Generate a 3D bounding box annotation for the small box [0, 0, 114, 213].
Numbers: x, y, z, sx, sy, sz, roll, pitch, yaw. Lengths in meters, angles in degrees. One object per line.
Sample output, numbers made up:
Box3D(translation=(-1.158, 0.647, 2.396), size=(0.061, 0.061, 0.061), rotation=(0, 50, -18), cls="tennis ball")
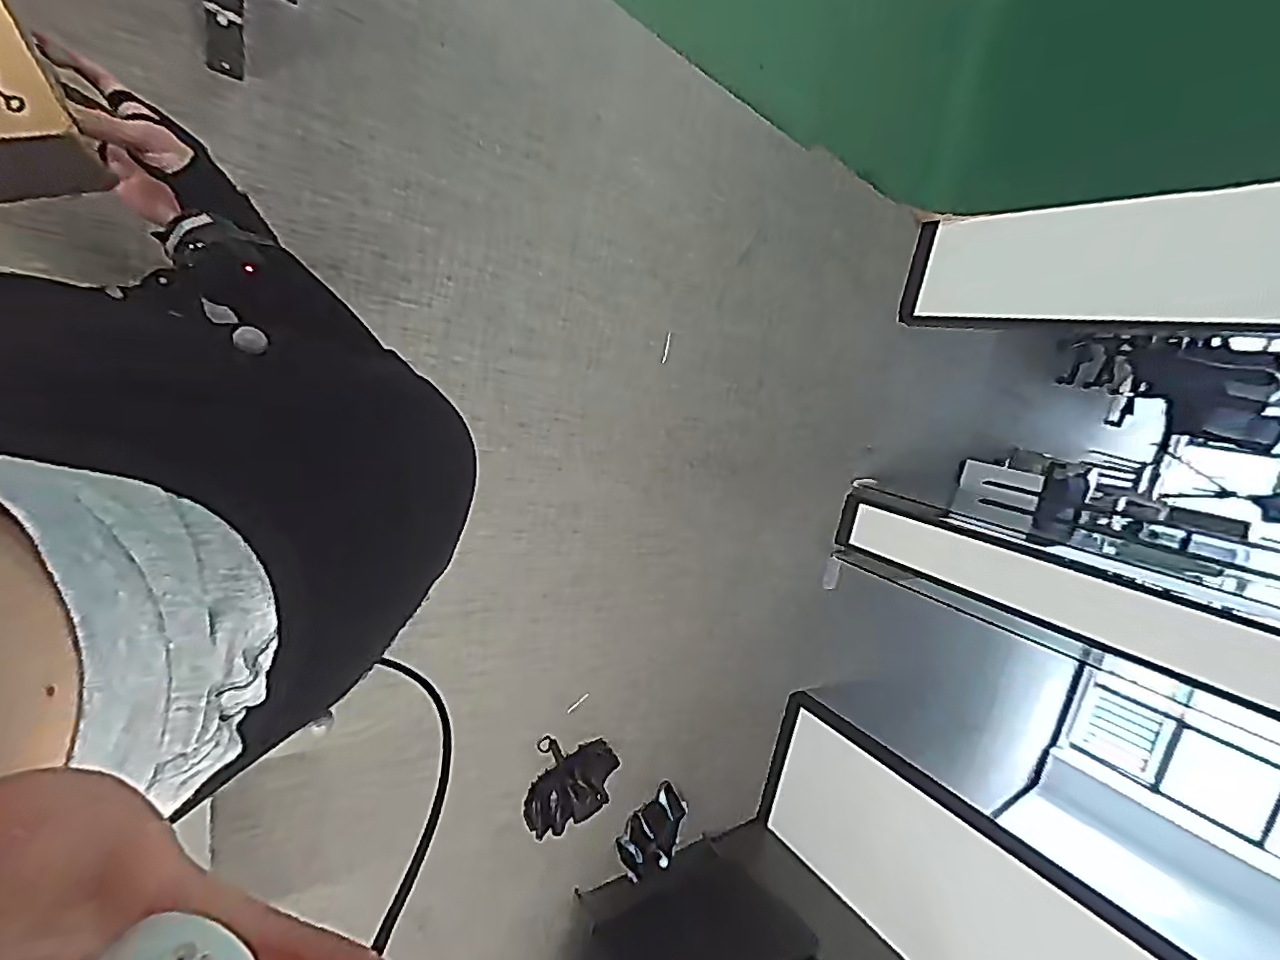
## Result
Box3D(translation=(-0.506, -0.286, 0.355), size=(0.168, 0.176, 0.179), rotation=(-29, 117, -28), cls="small box")
